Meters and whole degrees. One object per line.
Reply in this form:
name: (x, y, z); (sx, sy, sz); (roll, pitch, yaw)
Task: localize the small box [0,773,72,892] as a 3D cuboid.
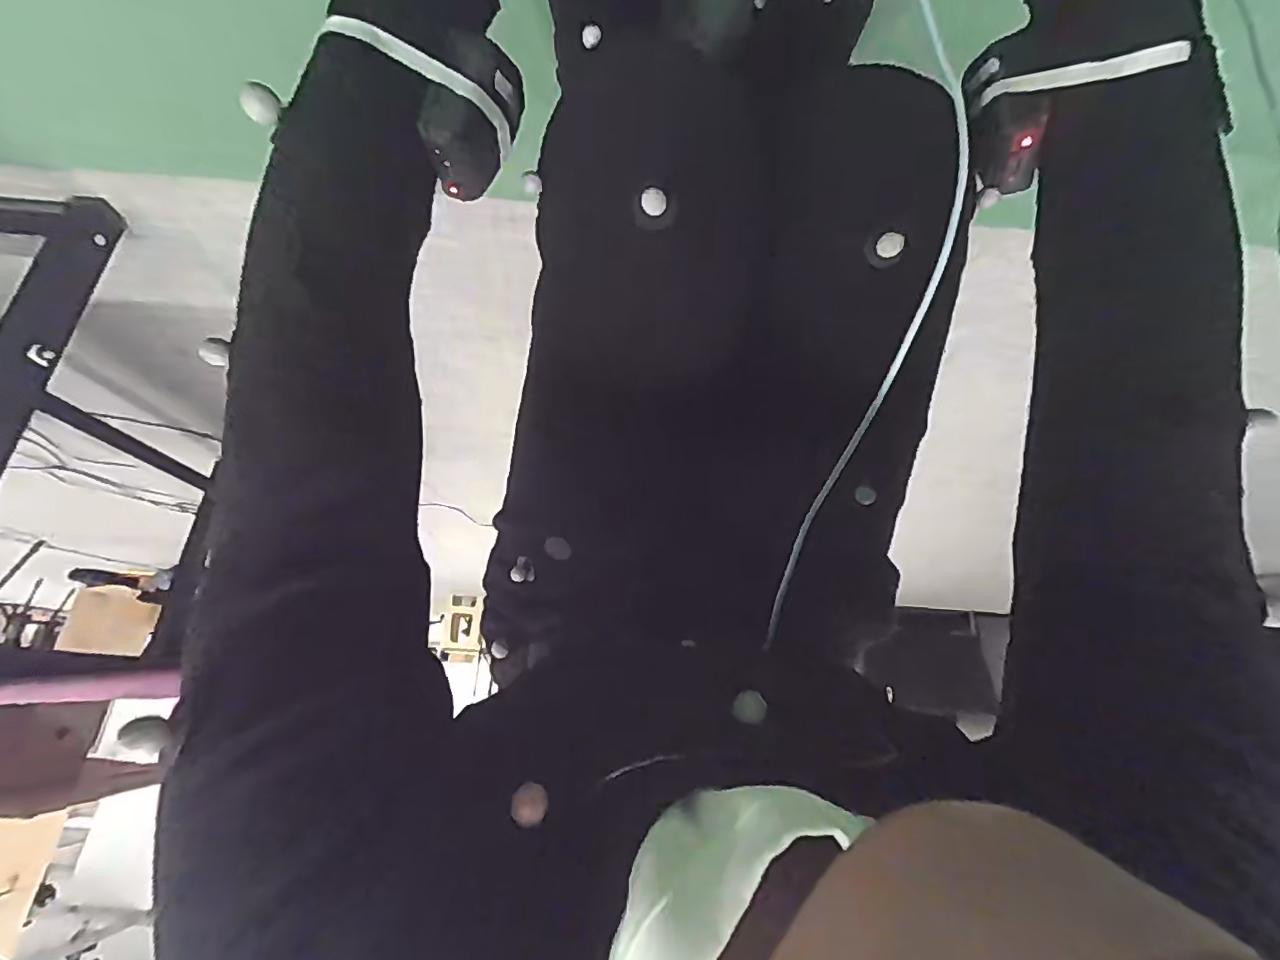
small box: (-1.212, 0.647, 0.988); (0.179, 0.176, 0.168); (7, 159, -2)
